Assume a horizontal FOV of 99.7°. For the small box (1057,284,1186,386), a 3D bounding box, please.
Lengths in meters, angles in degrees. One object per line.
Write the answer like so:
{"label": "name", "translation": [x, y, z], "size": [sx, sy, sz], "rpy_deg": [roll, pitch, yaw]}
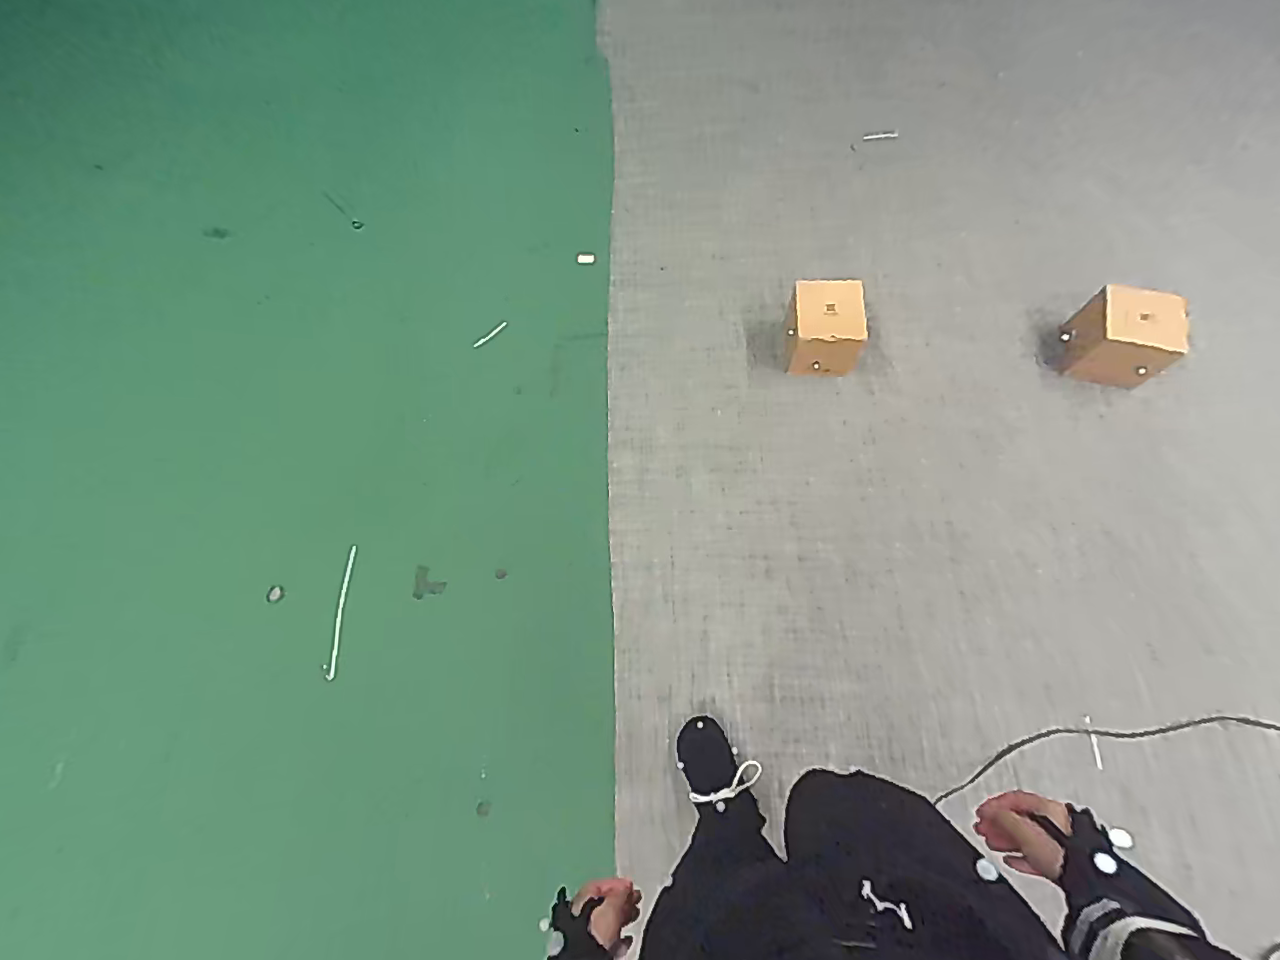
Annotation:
{"label": "small box", "translation": [1.191, -0.355, 1.347], "size": [0.179, 0.176, 0.168], "rpy_deg": [13, 70, 9]}

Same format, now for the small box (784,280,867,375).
{"label": "small box", "translation": [0.474, -0.394, 1.407], "size": [0.168, 0.176, 0.179], "rpy_deg": [1, 71, 4]}
